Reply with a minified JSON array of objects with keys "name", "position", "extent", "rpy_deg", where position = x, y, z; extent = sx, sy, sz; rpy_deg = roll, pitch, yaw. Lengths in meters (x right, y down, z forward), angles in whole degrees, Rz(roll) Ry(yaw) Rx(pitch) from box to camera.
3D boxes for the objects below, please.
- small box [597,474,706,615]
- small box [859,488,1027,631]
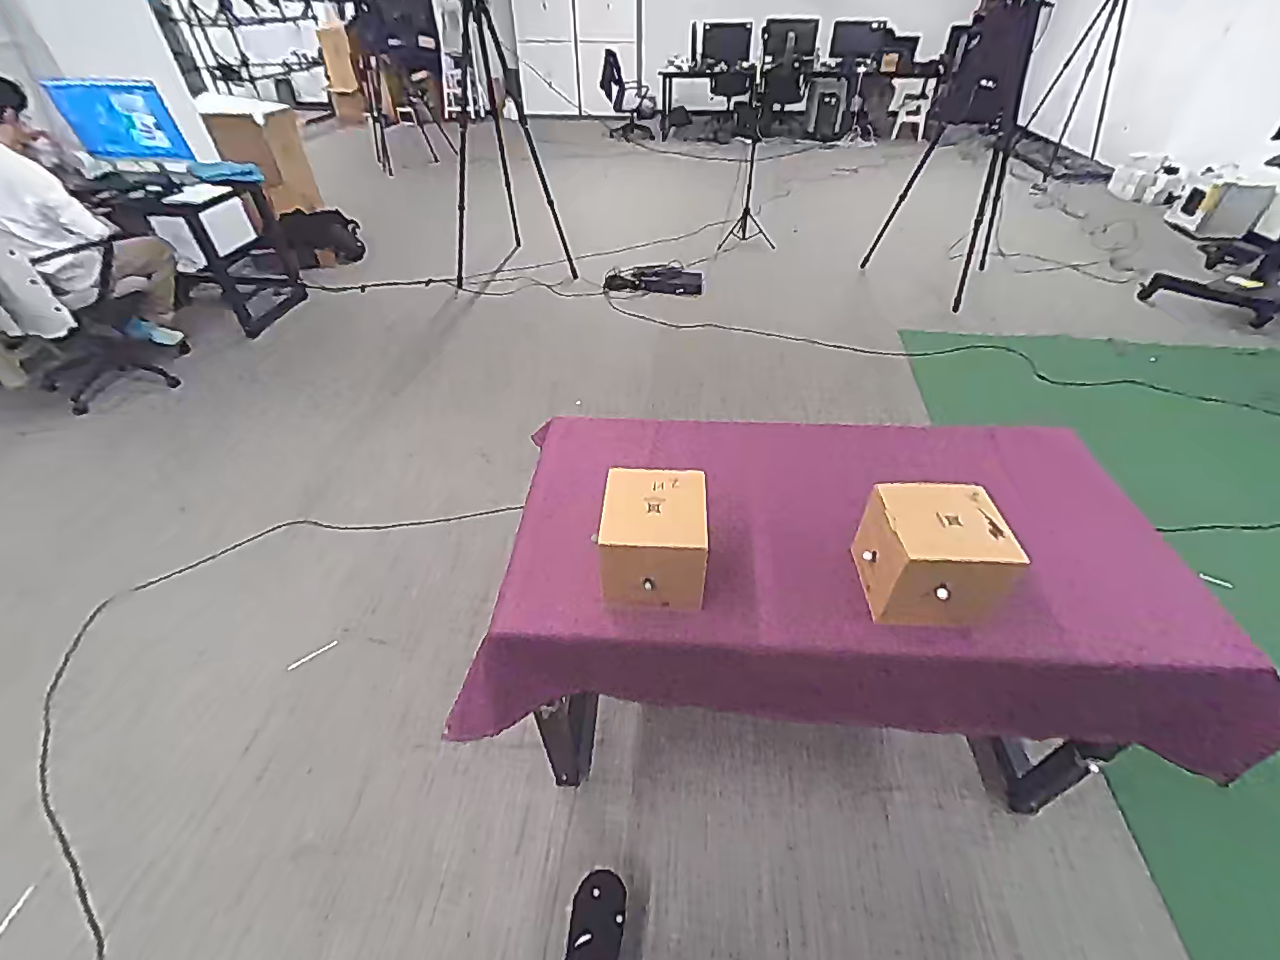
[{"name":"small box","position":[0.025,0.109,0.912],"extent":[0.168,0.176,0.179],"rpy_deg":[2,41,3]},{"name":"small box","position":[0.470,0.130,0.879],"extent":[0.179,0.176,0.168],"rpy_deg":[1,42,3]}]
